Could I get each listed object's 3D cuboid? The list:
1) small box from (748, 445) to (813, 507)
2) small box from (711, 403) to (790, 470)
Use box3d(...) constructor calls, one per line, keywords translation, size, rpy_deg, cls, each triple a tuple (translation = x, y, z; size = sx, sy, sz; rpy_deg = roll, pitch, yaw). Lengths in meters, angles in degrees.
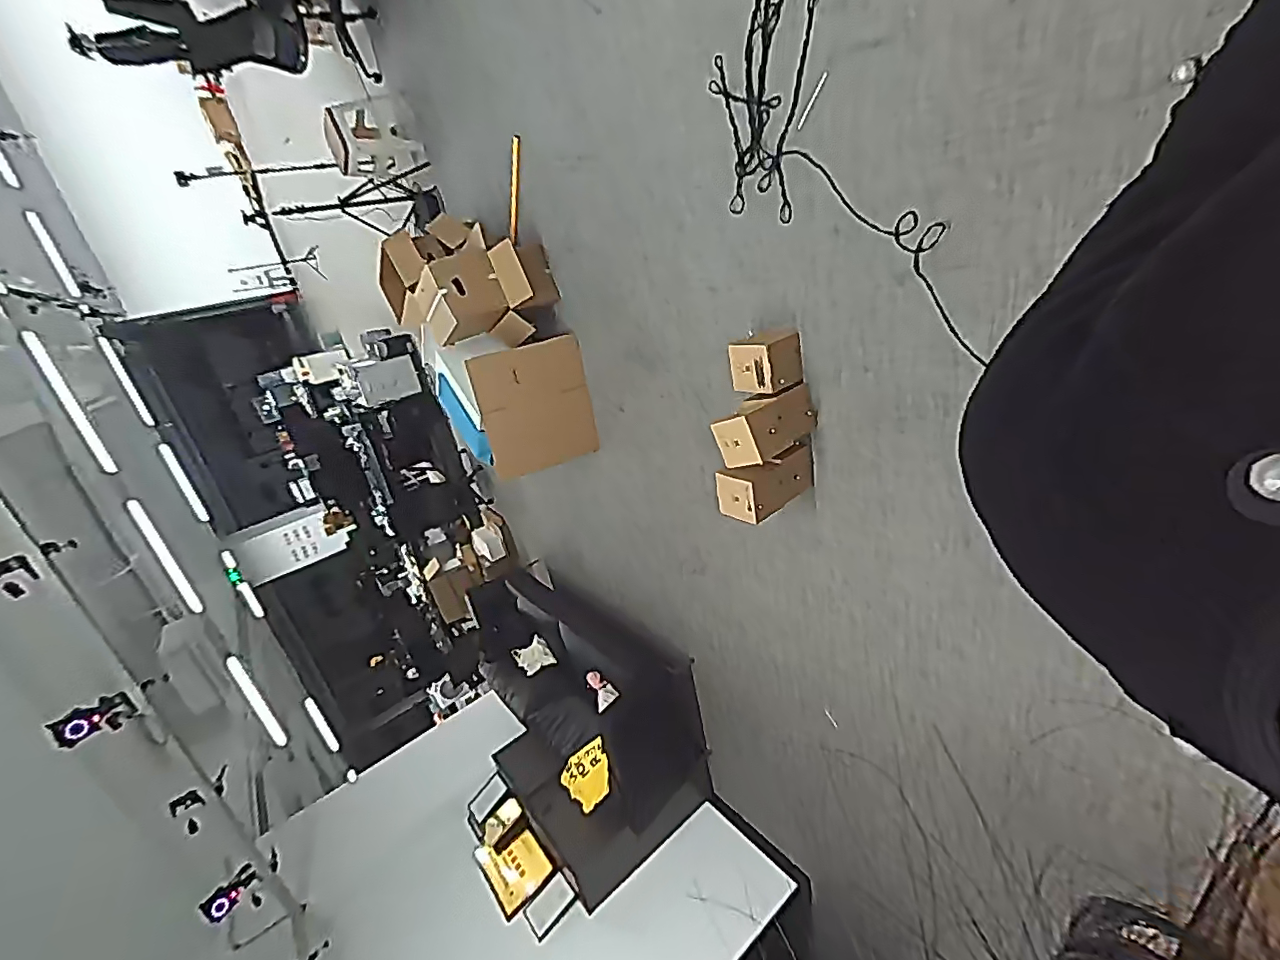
box3d(translation=(0.523, -0.028, 2.008), size=(0.168, 0.176, 0.179), rpy_deg=(18, 128, 51), cls="small box")
box3d(translation=(0.378, -0.146, 1.819), size=(0.179, 0.176, 0.168), rpy_deg=(-9, 106, 59), cls="small box")
